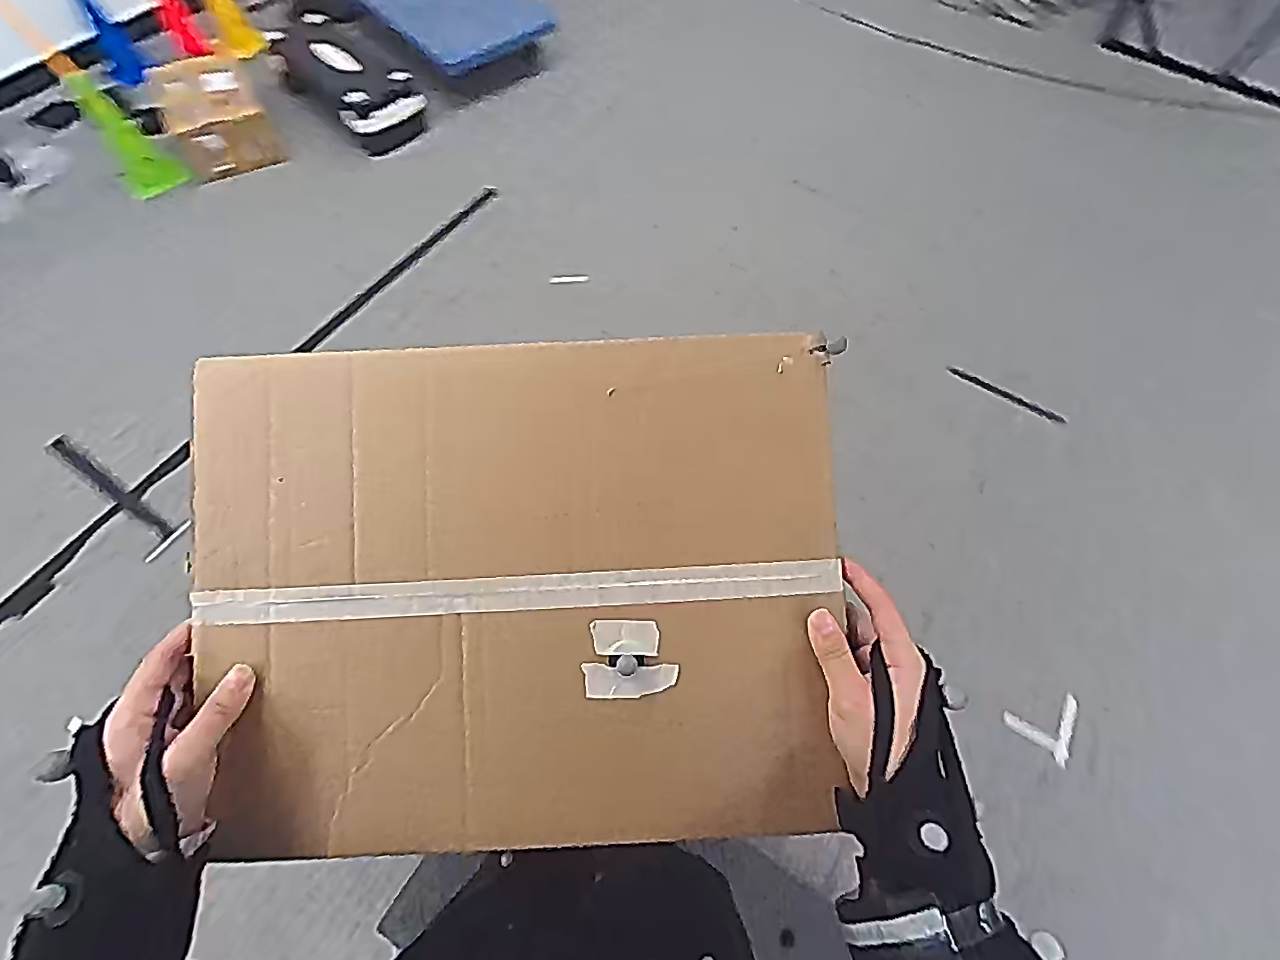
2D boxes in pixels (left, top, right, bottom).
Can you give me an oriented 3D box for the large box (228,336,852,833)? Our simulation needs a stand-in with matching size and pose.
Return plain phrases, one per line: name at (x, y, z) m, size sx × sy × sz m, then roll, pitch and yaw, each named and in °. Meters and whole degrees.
large box at (-0.069, 0.073, 0.502) m, size 0.408 × 0.320 × 0.320 m, roll -2°, pitch 88°, yaw 0°
